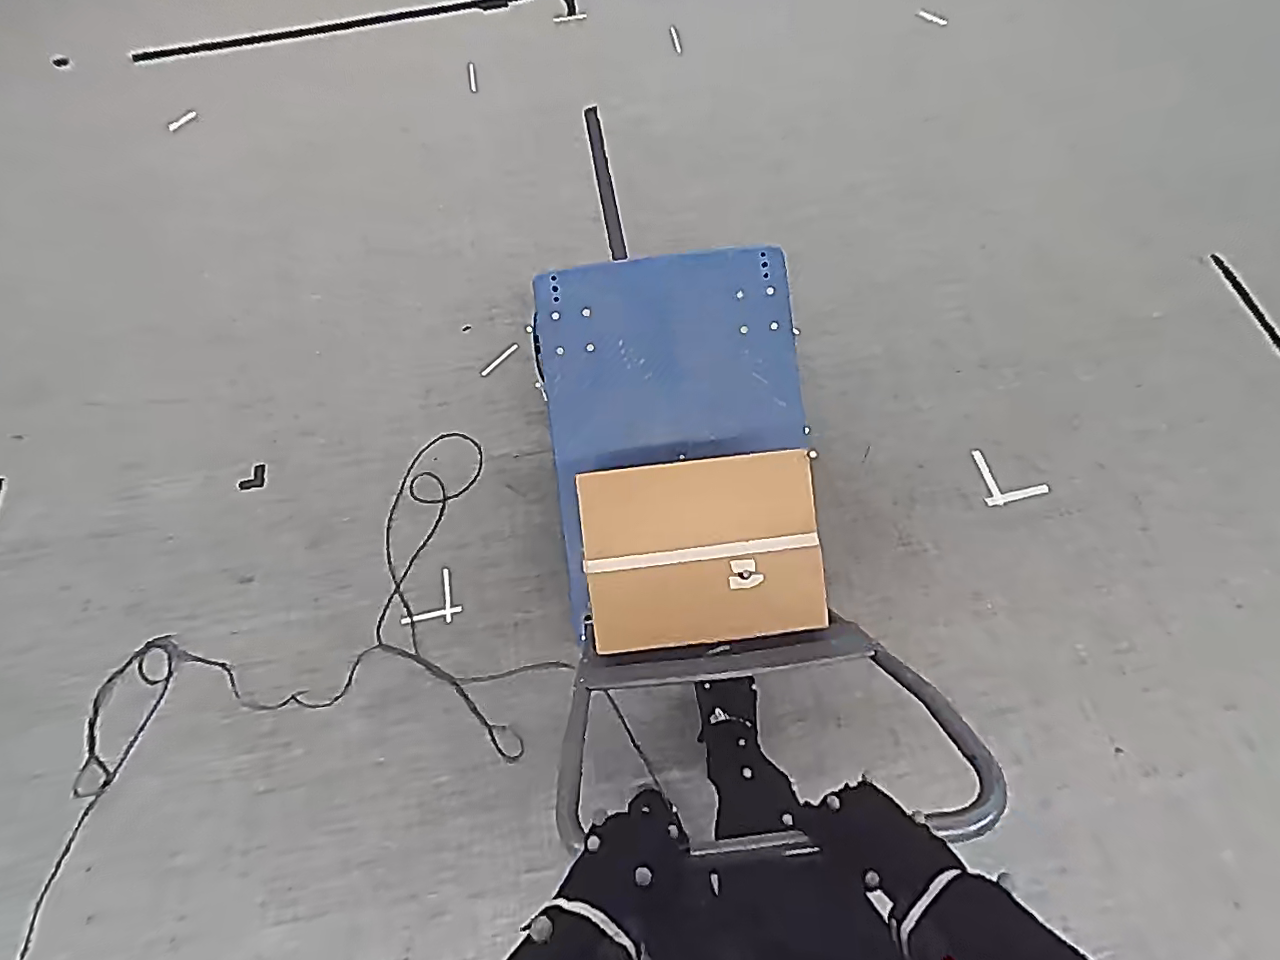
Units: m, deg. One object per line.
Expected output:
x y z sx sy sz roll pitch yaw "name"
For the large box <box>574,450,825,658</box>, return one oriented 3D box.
0.098 0.127 1.071 0.408 0.320 0.320 -7 91 -2 "large box"
